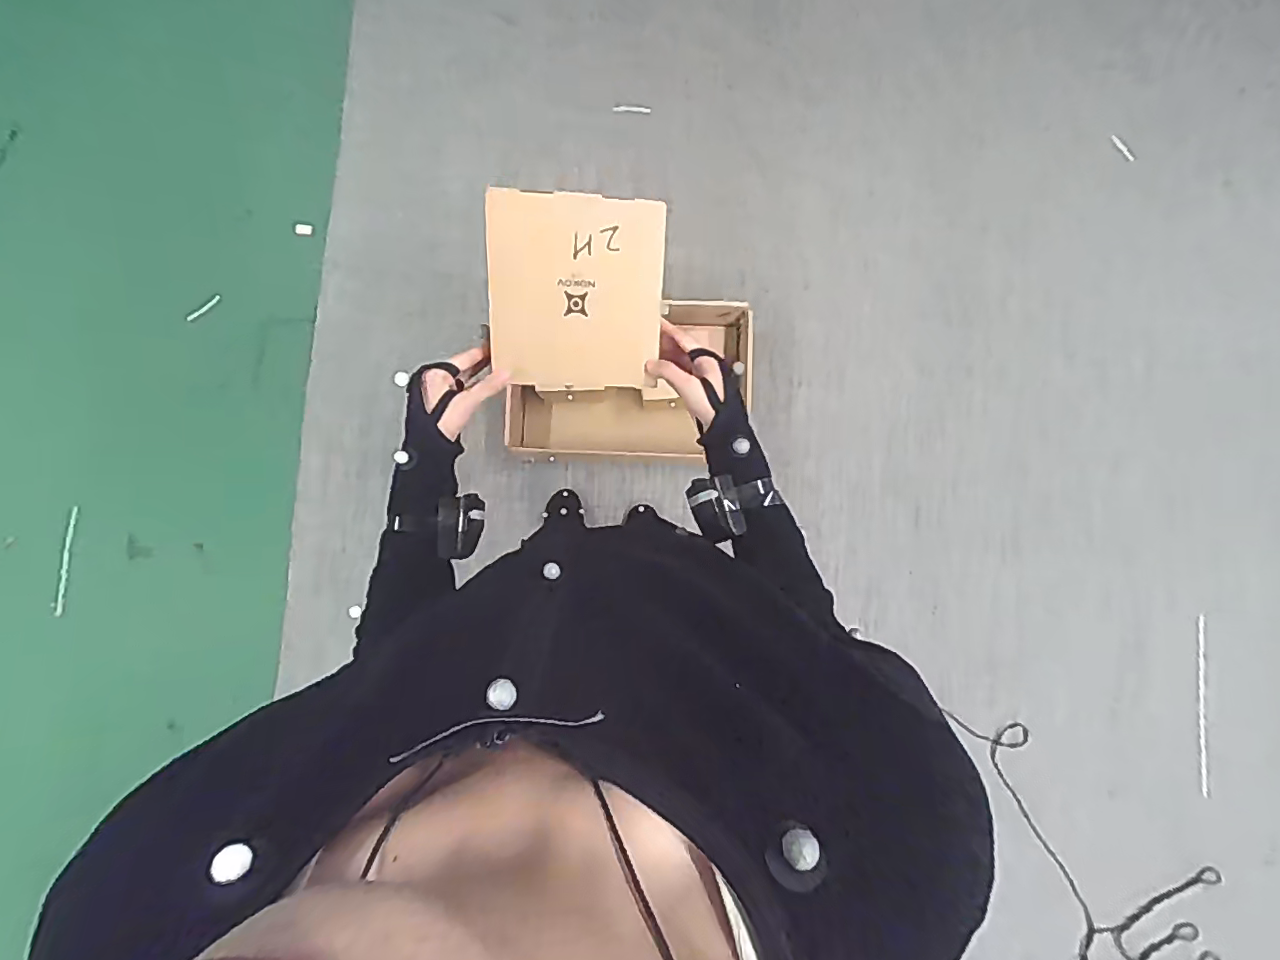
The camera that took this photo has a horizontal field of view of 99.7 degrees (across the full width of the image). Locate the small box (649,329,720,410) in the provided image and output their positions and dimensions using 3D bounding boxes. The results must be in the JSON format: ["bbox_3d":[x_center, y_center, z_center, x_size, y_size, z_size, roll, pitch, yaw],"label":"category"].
[{"bbox_3d":[0.110,-0.281,1.410,0.179,0.176,0.168,-4,87,3],"label":"small box"}]

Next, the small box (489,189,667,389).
[{"bbox_3d":[-0.070,-0.201,0.594,0.168,0.176,0.179,0,107,-9],"label":"small box"}]

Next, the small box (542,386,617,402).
[{"bbox_3d":[-0.154,-0.301,1.423,0.179,0.176,0.168,-1,88,1],"label":"small box"}]
